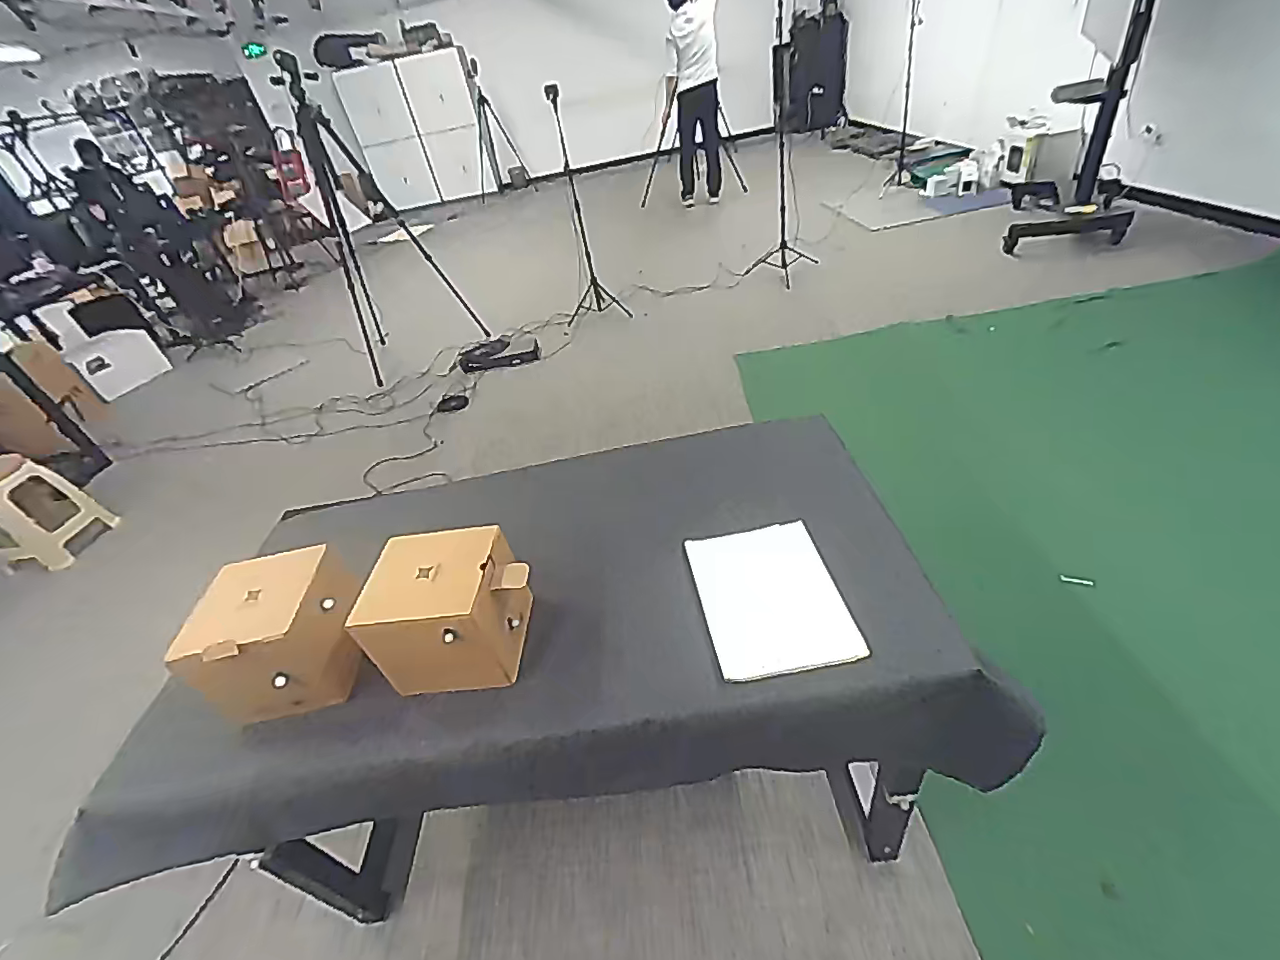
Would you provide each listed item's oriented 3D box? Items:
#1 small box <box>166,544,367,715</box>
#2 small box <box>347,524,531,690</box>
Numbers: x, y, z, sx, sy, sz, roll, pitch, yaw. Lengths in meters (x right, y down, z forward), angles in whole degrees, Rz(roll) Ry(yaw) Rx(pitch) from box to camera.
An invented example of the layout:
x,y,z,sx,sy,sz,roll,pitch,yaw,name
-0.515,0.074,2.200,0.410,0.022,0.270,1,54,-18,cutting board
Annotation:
x,y,z,sx,sy,sz,roll,pitch,yaw,name
-0.533,0.228,0.813,0.168,0.176,0.179,-12,36,-1,small box
-0.277,0.189,0.792,0.179,0.176,0.168,-7,37,6,small box
